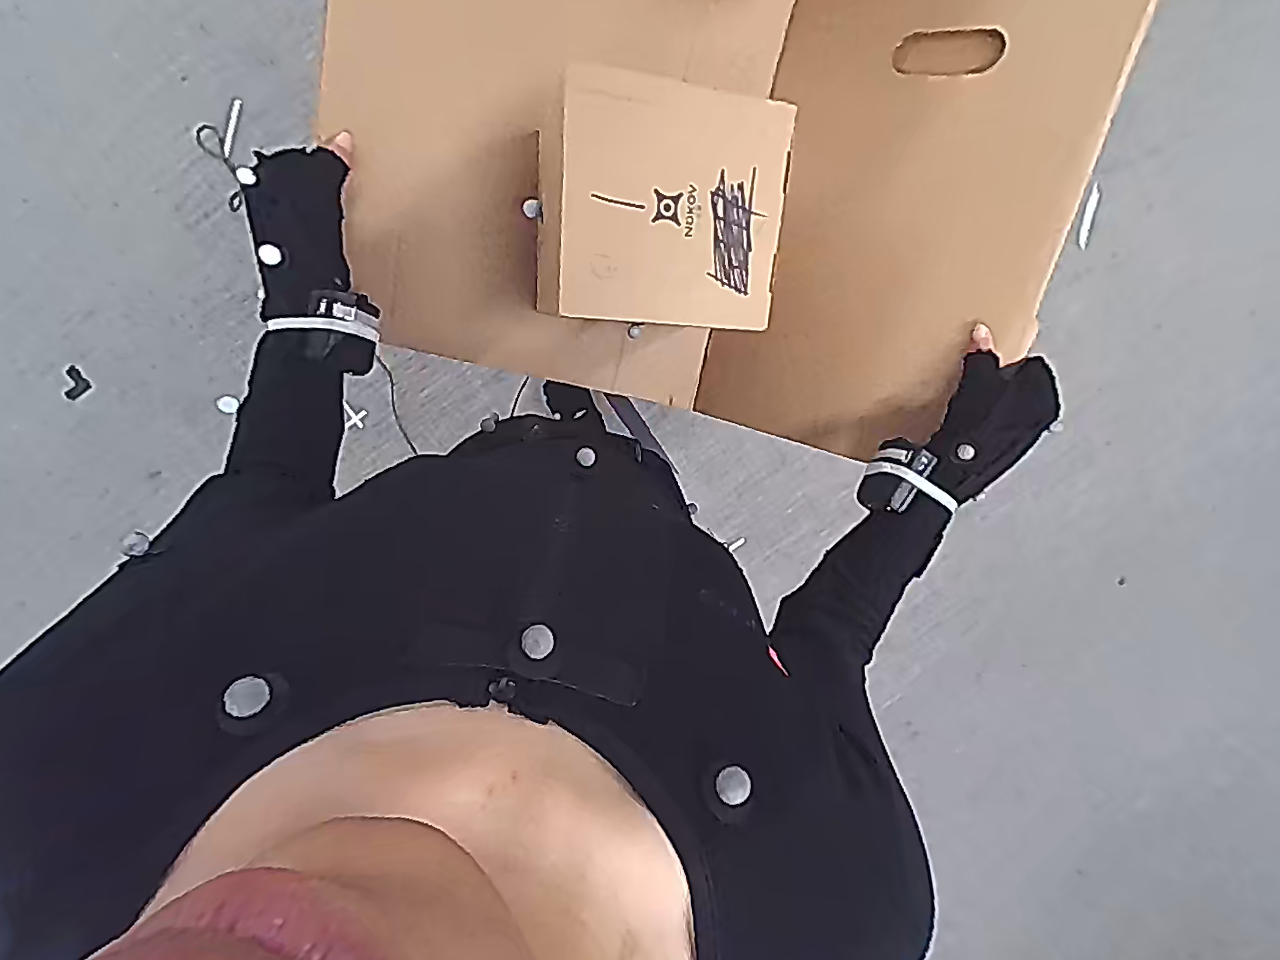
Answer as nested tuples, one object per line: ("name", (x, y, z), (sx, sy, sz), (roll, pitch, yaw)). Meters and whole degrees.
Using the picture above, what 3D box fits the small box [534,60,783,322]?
("small box", (0.001, -0.234, 0.485), (0.179, 0.176, 0.168), (-2, 108, -15))
